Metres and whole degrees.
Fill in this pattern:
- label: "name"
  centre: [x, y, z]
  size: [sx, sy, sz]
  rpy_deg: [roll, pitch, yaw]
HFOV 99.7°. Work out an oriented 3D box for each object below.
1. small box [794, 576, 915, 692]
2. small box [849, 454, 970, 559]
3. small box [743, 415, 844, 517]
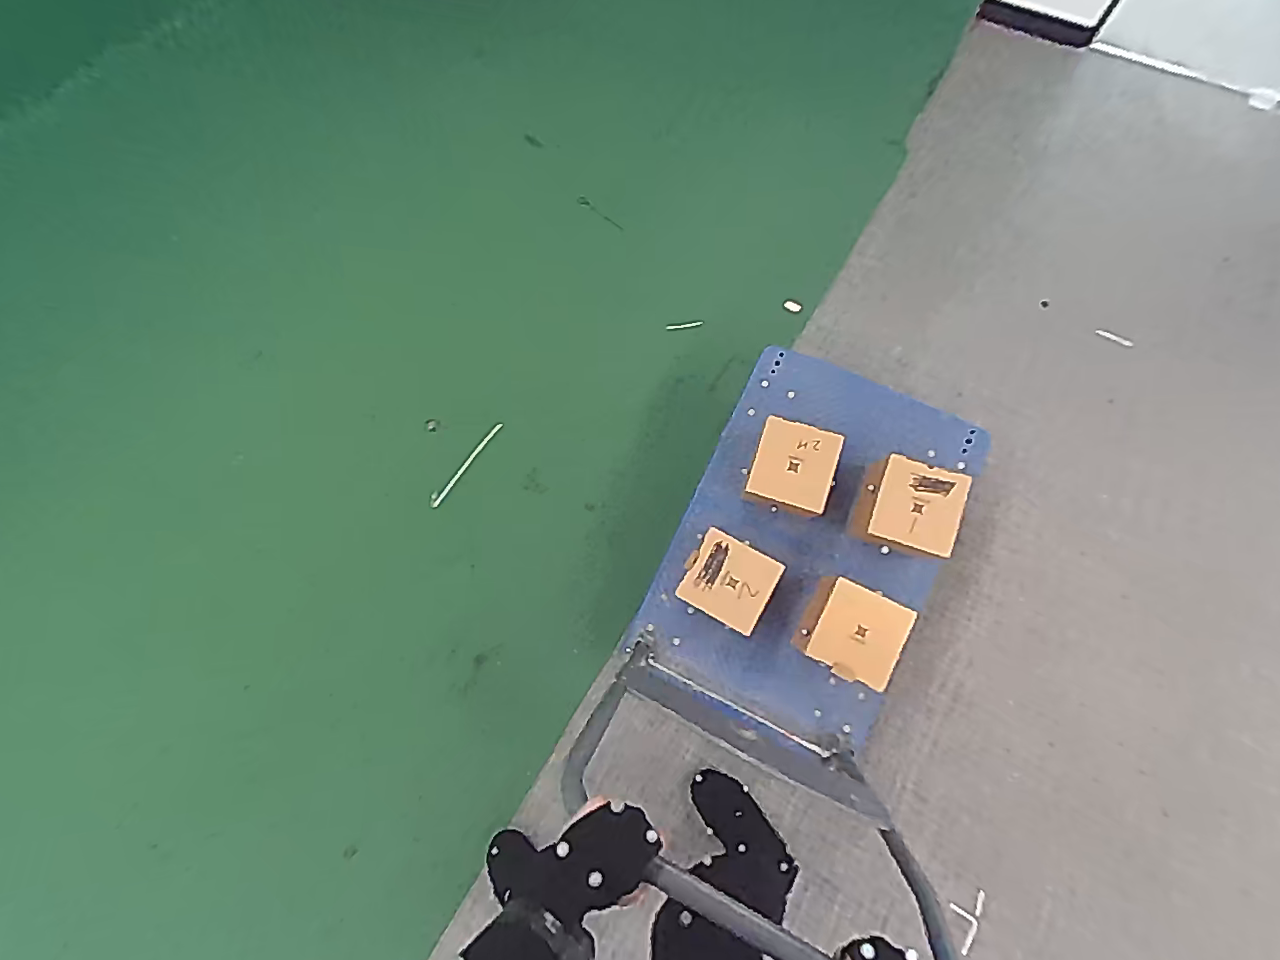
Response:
- label: "small box"
  centre: [0.447, 0.317, 1.159]
  size: [0.168, 0.176, 0.179]
  rpy_deg: [26, 86, 9]
- label: "small box"
  centre: [0.578, 0.063, 1.181]
  size: [0.168, 0.176, 0.179]
  rpy_deg: [19, 85, 9]
- label: "small box"
  centre: [0.336, -0.024, 1.221]
  size: [0.168, 0.176, 0.179]
  rpy_deg: [18, 84, 8]
